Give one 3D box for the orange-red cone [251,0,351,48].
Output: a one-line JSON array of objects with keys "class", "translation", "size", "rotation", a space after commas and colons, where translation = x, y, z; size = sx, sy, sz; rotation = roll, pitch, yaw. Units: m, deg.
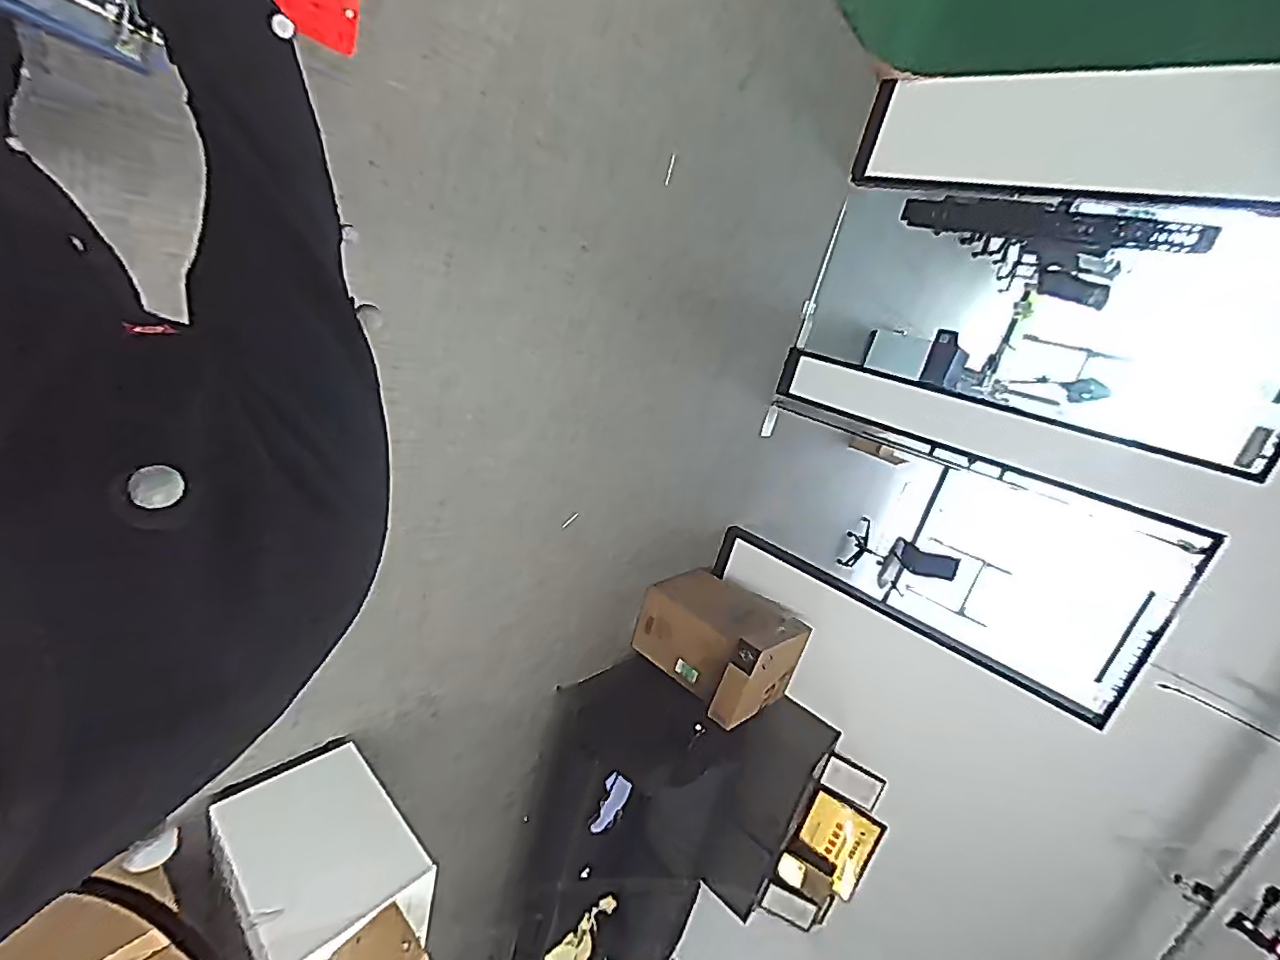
[{"class": "orange-red cone", "translation": [-0.551, -0.940, 0.966], "size": [0.199, 0.360, 0.198], "rotation": [-4, 115, -50]}]
